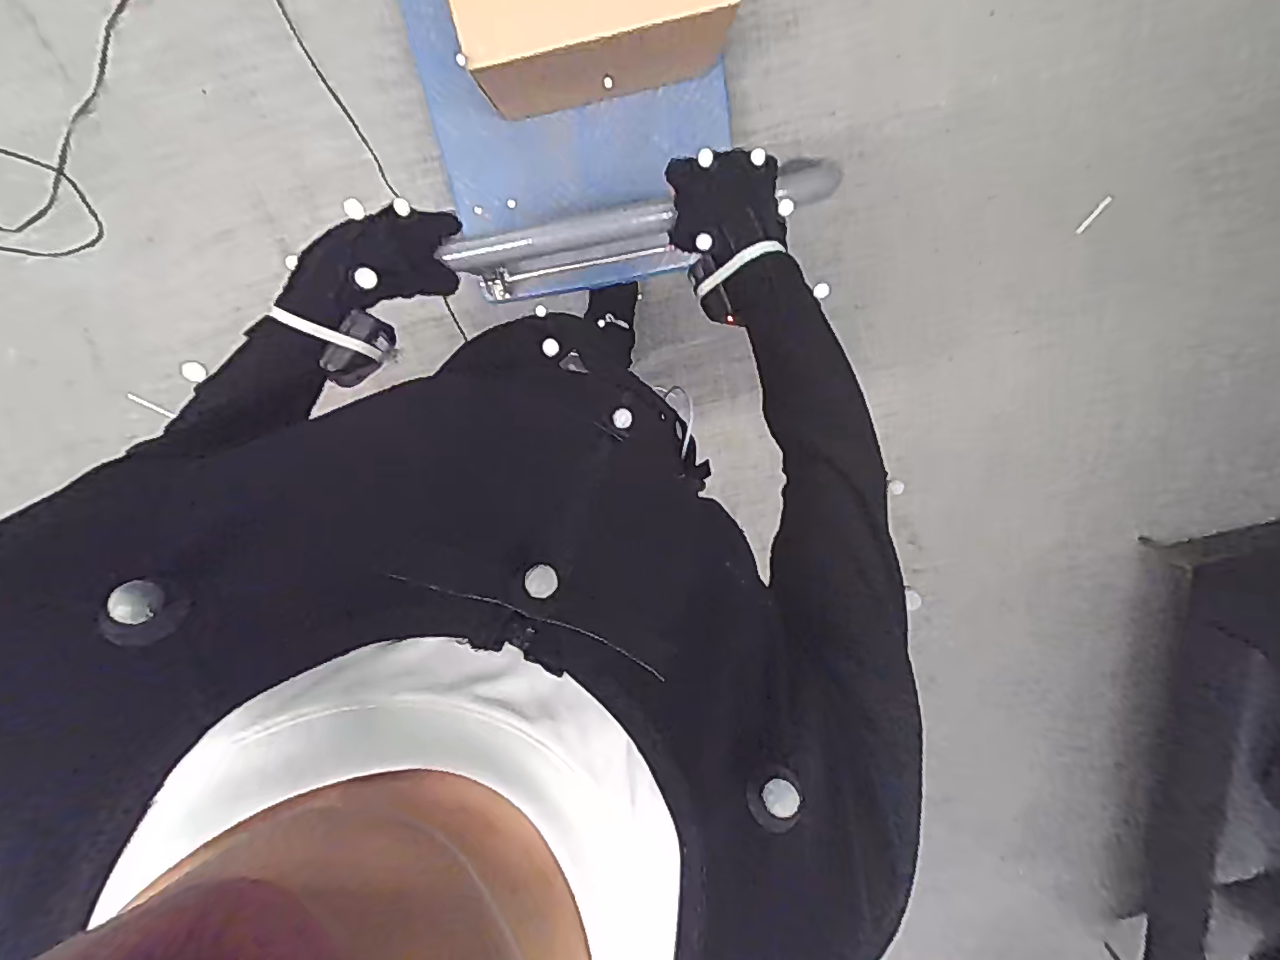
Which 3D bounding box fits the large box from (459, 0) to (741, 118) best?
[{"bbox_3d":[-0.080,-0.836,0.866,0.408,0.320,0.320,-12,111,4],"label":"large box"}]
